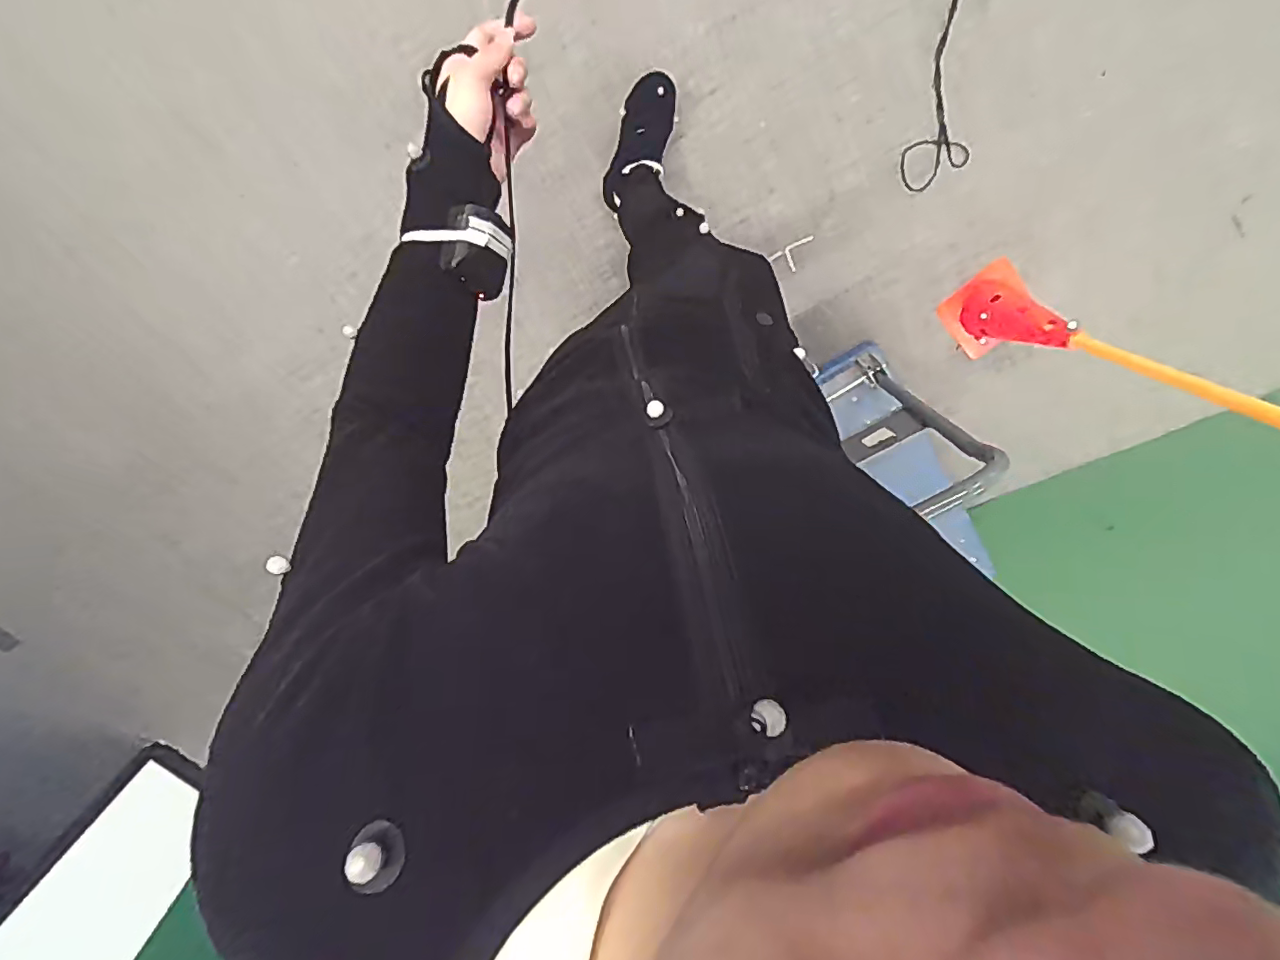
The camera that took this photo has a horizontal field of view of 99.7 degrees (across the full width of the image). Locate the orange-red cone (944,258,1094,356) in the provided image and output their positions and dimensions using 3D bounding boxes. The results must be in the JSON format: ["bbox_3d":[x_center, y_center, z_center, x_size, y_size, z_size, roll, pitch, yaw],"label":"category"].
[{"bbox_3d":[0.932,-0.376,1.283,0.199,0.360,0.198,-39,111,18],"label":"orange-red cone"}]
